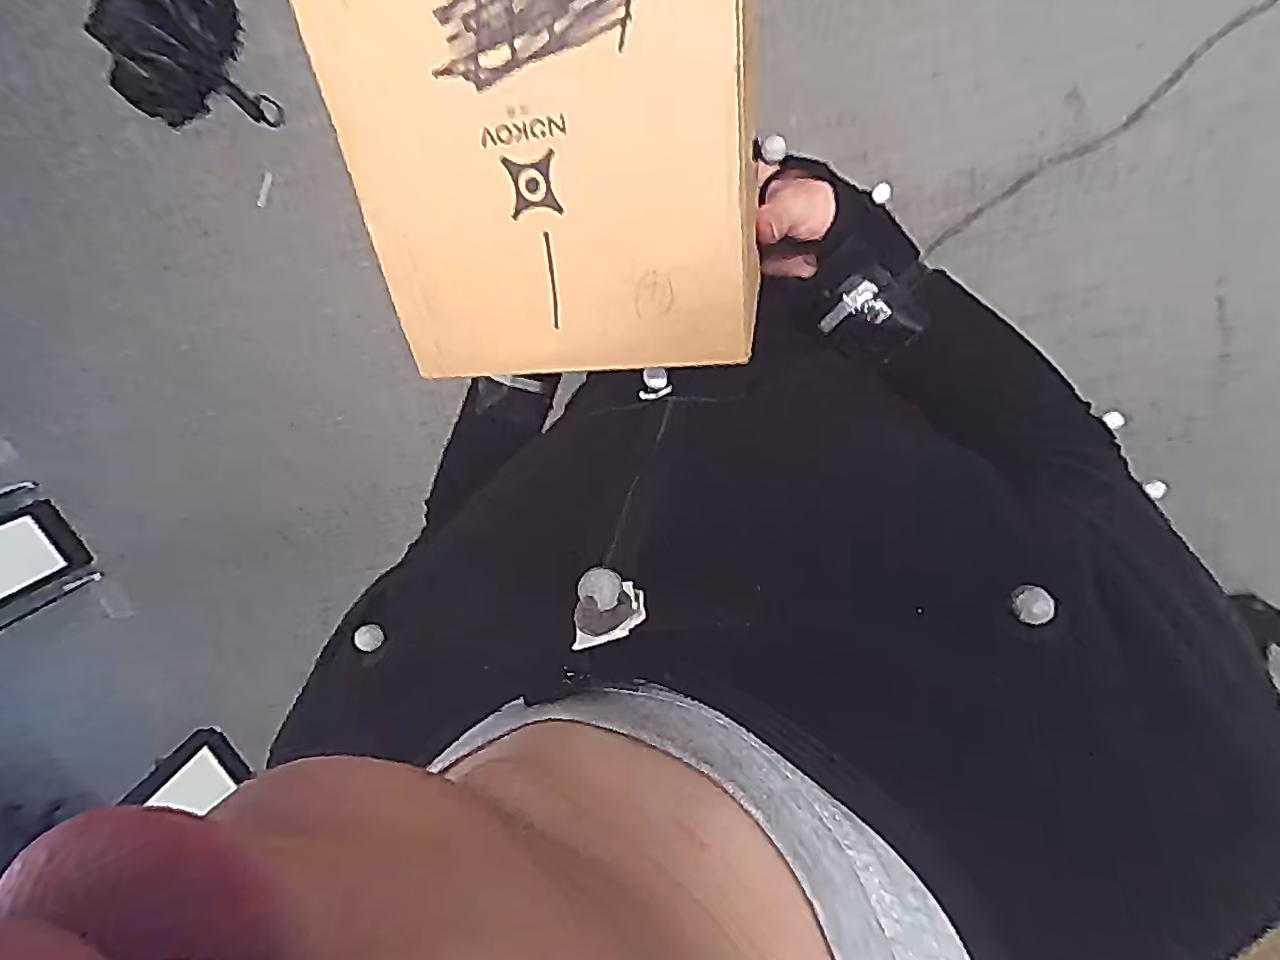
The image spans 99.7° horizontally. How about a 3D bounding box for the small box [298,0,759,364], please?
[{"bbox_3d":[-0.027,-0.173,0.281,0.168,0.176,0.179,1,121,15],"label":"small box"}]
